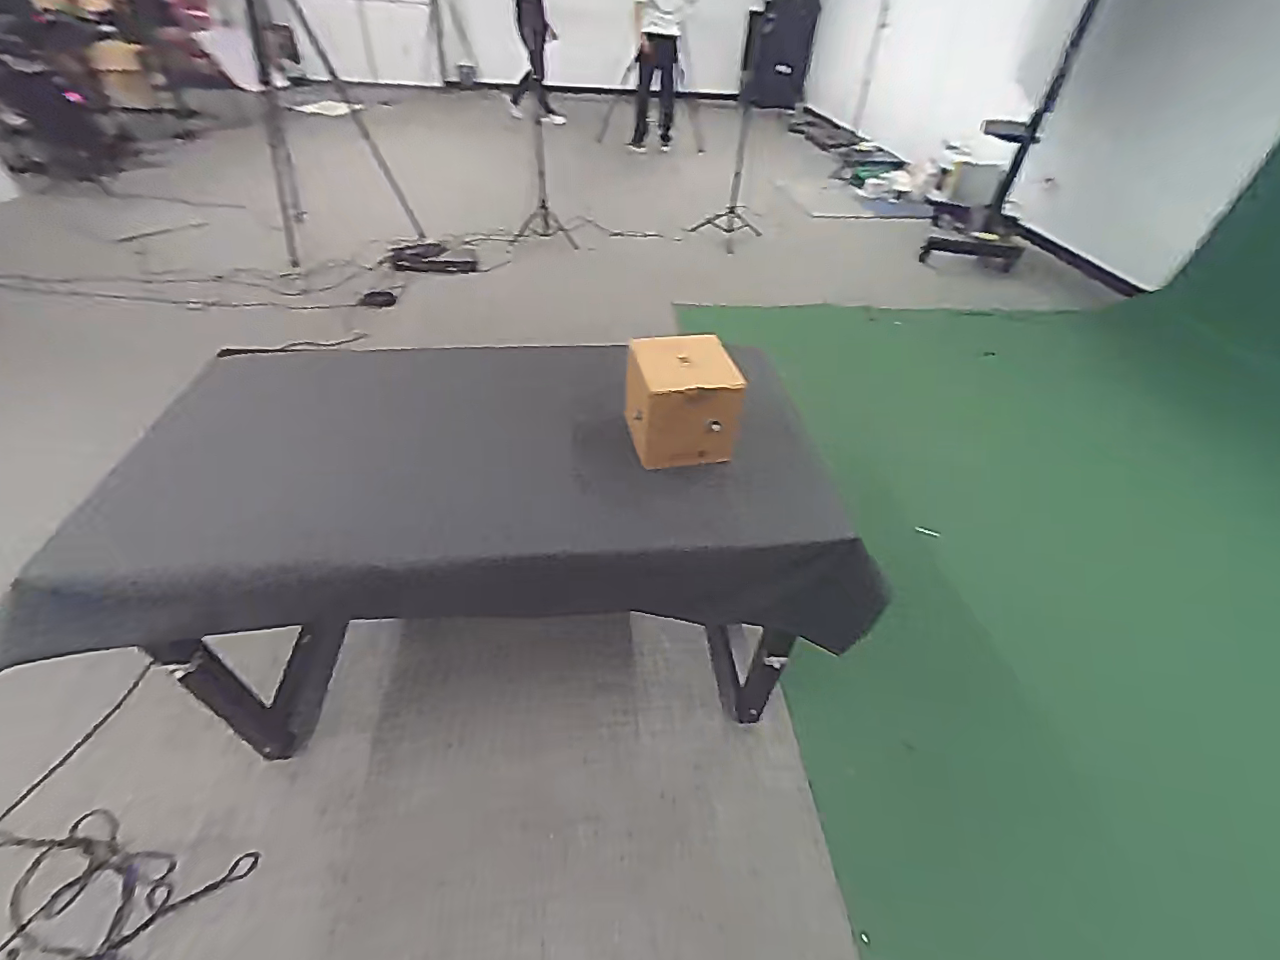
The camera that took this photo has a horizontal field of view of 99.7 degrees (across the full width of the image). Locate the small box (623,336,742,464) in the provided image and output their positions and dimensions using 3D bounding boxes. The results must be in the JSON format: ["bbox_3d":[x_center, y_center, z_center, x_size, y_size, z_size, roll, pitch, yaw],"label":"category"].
[{"bbox_3d":[0.067,-0.141,0.977,0.168,0.176,0.179,-6,42,-13],"label":"small box"}]
